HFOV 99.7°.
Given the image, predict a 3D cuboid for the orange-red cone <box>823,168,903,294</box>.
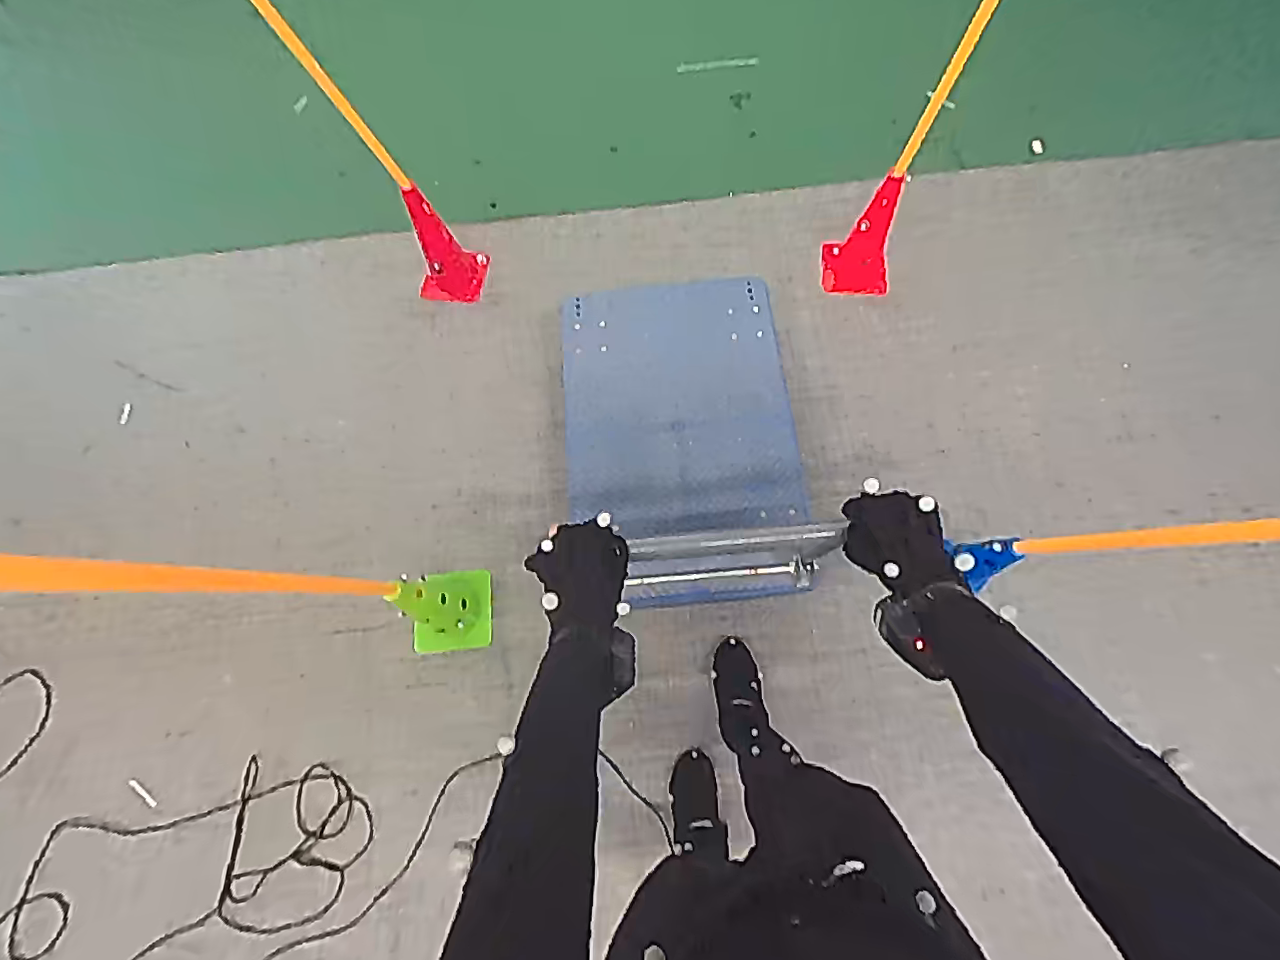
[{"bbox_3d":[0.670,-0.727,1.550,0.198,0.360,0.199,5,71,6],"label":"orange-red cone"}]
